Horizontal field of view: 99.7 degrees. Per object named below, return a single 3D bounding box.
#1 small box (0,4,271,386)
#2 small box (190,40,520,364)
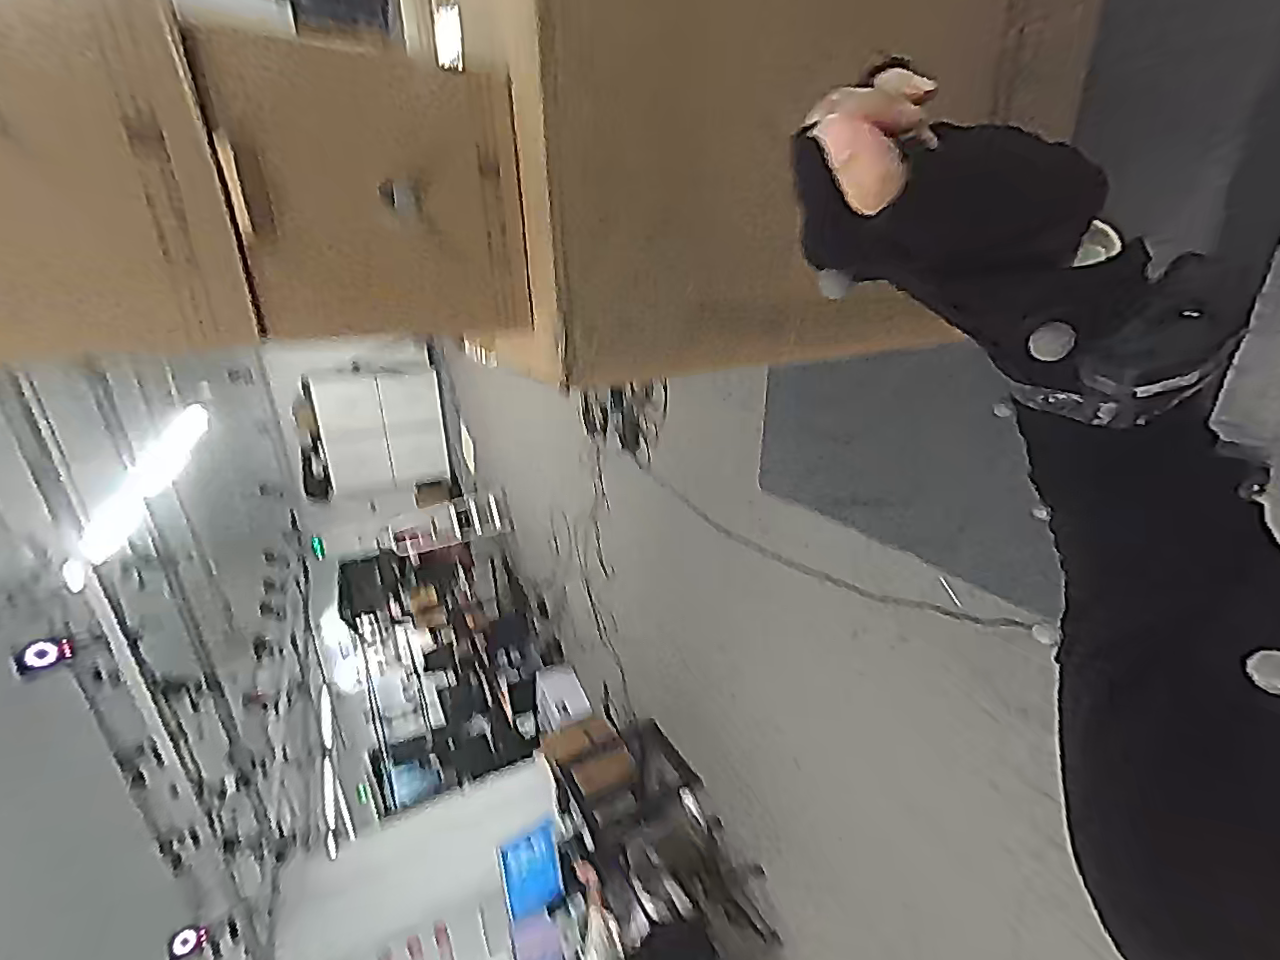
[{"bbox_3d":[-0.329,-0.149,0.315,0.179,0.176,0.168,26,123,54],"label":"small box"},{"bbox_3d":[-0.195,-0.182,0.402,0.179,0.176,0.168,23,121,54],"label":"small box"}]
